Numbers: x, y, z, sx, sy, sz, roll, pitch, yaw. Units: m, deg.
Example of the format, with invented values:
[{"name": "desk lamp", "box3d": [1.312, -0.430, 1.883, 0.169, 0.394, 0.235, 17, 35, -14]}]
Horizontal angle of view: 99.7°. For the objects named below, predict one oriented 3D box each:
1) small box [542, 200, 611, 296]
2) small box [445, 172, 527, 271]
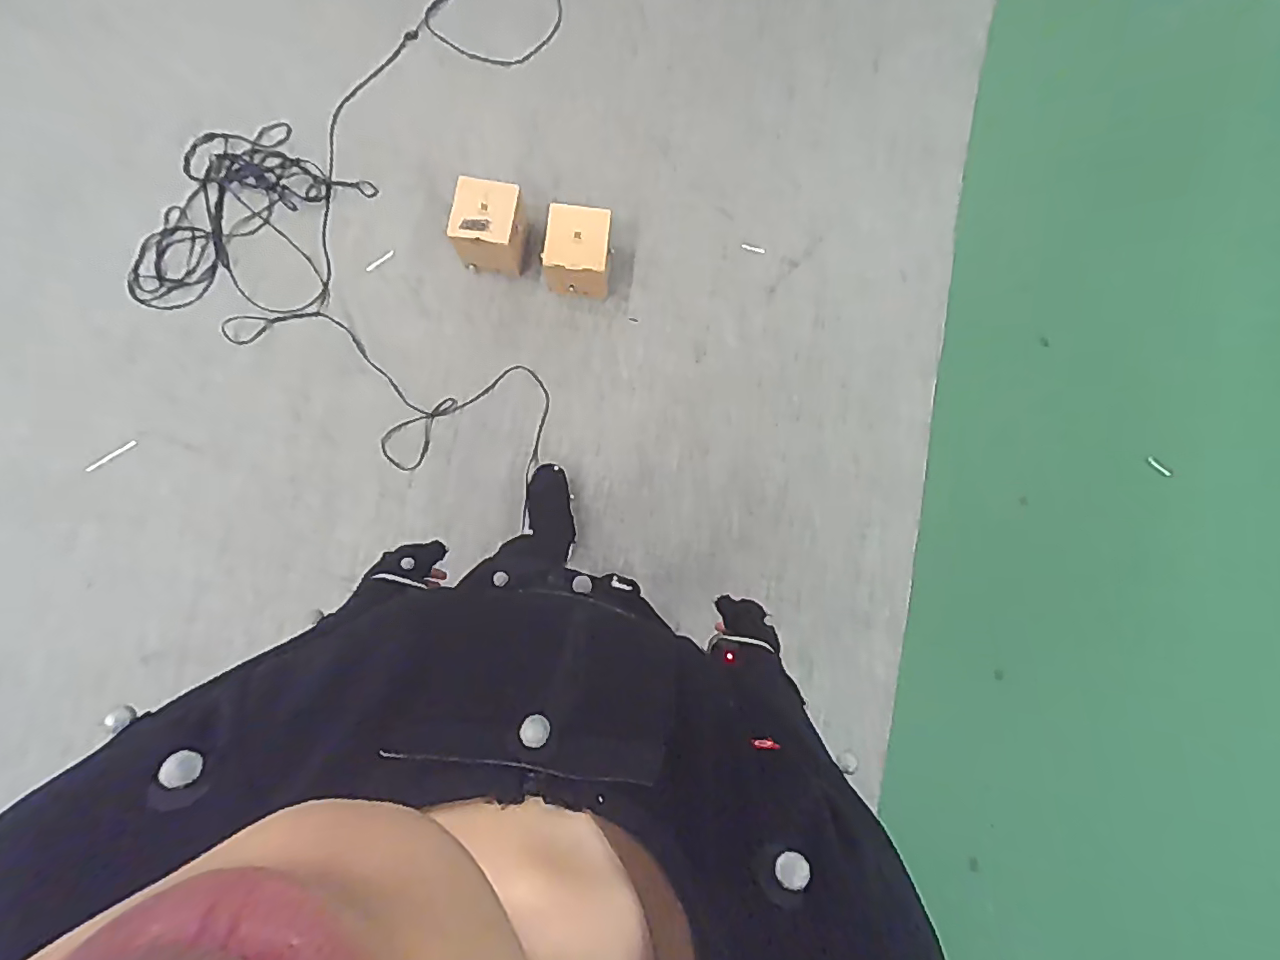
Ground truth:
[{"name": "small box", "box3d": [-0.170, -0.637, 1.497, 0.168, 0.176, 0.179, 6, 84, -2]}, {"name": "small box", "box3d": [-0.416, -0.704, 1.491, 0.168, 0.176, 0.179, 9, 82, -2]}]
